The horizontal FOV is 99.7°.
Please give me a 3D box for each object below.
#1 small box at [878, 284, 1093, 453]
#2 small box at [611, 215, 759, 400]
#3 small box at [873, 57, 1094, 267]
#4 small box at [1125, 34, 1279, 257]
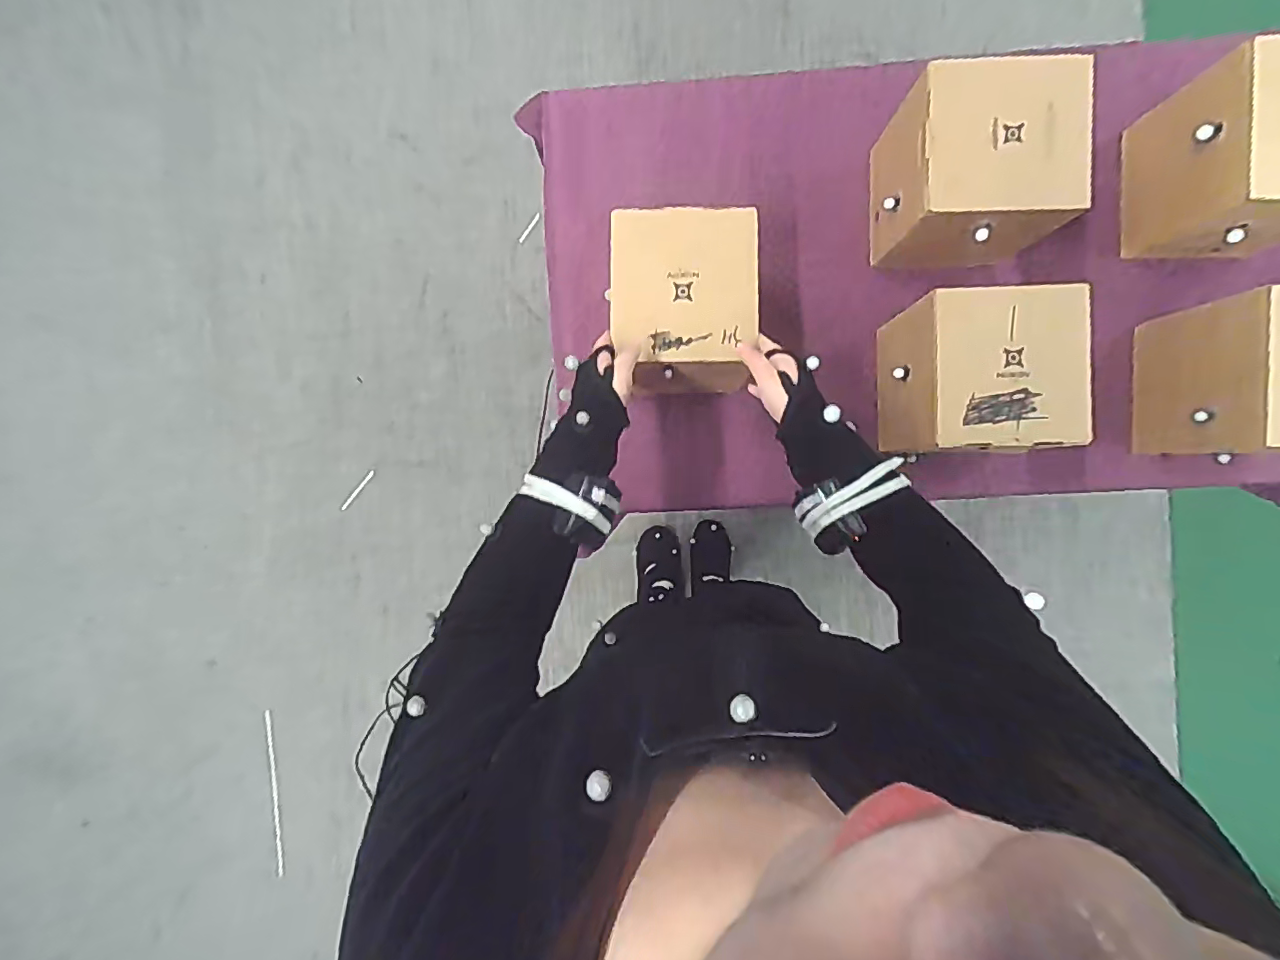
[{"bbox_3d":[0.406,-0.123,0.663,0.168,0.176,0.179,-1,89,3],"label":"small box"},{"bbox_3d":[0.053,-0.205,0.680,0.168,0.176,0.179,0,87,3],"label":"small box"},{"bbox_3d":[0.402,-0.373,0.663,0.179,0.176,0.168,1,91,3],"label":"small box"},{"bbox_3d":[0.729,-0.380,0.643,0.168,0.176,0.179,1,90,4],"label":"small box"}]
